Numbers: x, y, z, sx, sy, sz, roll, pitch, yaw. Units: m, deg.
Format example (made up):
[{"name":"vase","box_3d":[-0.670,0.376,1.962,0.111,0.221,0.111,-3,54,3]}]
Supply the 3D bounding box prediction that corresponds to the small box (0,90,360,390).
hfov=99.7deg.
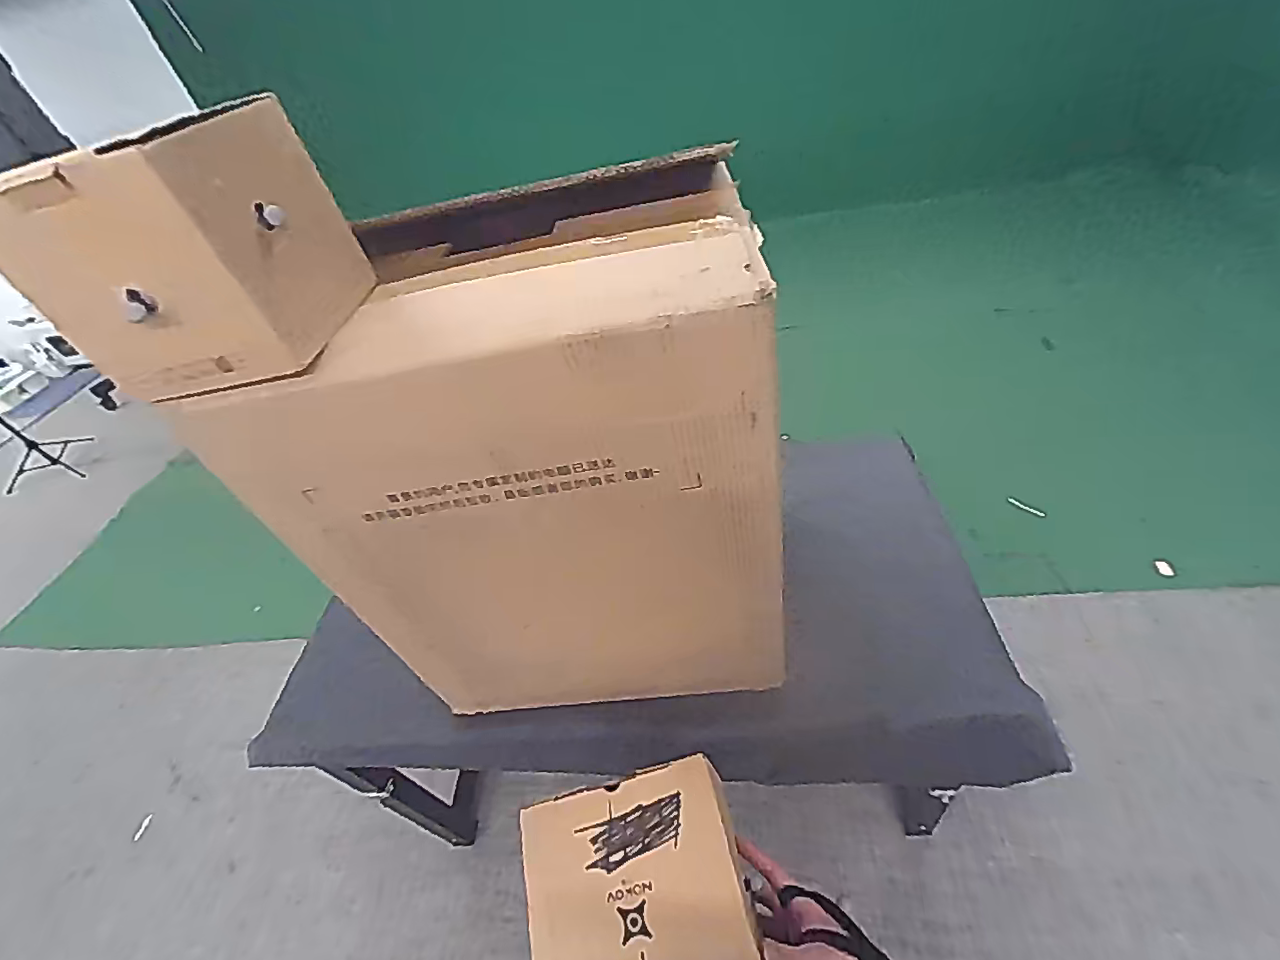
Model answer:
[{"name":"small box","box_3d":[-0.375,-0.191,0.455,0.168,0.176,0.179,-8,44,9]}]
